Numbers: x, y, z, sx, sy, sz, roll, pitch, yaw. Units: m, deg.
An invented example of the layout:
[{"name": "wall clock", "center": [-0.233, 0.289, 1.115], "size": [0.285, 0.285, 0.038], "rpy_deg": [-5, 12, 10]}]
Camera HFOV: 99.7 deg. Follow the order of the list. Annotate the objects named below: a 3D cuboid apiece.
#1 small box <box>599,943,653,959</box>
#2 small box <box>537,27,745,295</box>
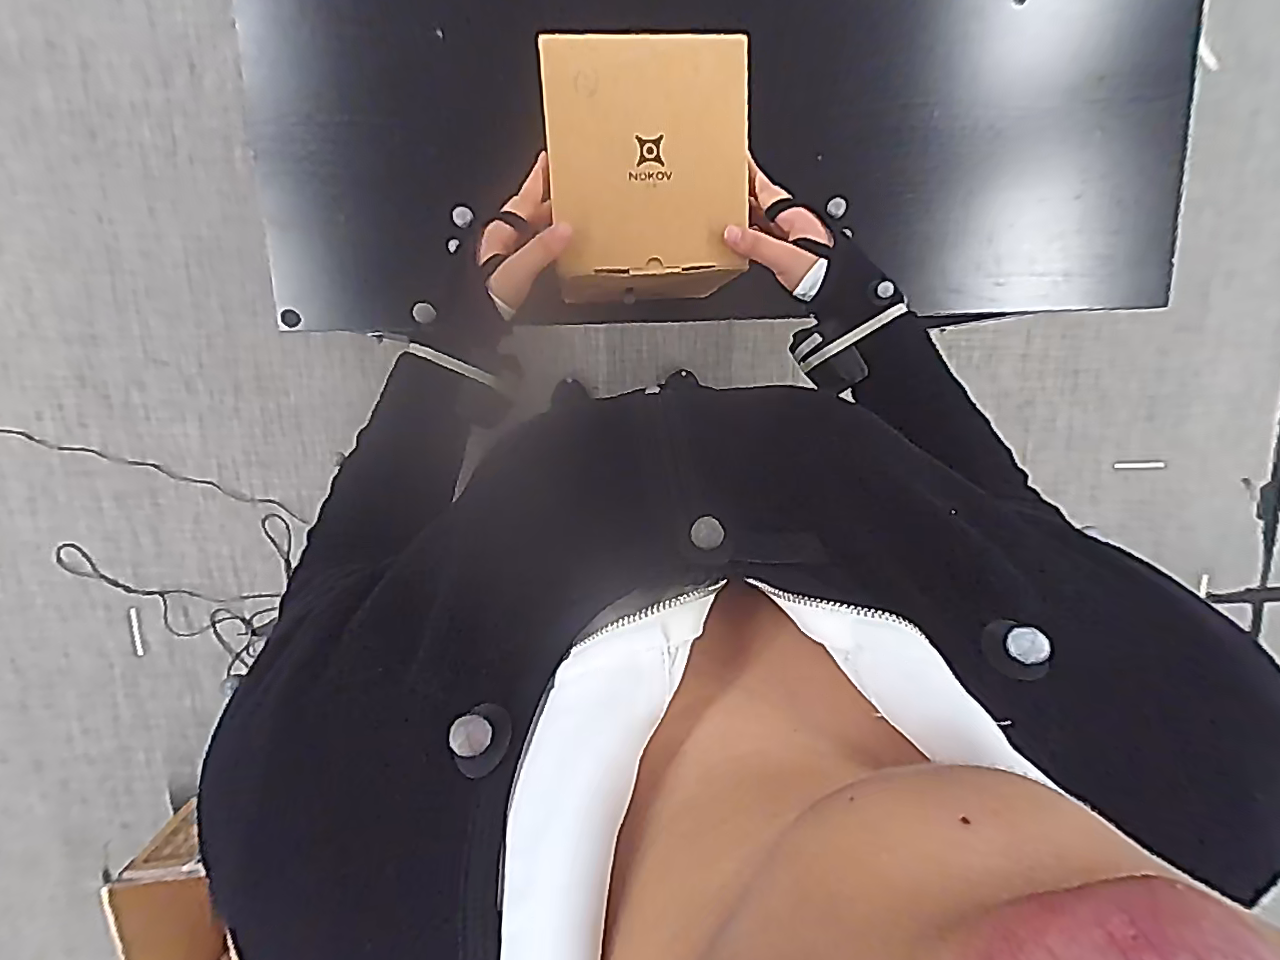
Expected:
[{"name": "small box", "center": [-0.043, 1.549, 1.636], "size": [0.168, 0.176, 0.179], "rpy_deg": [2, 98, -5]}, {"name": "small box", "center": [-0.004, -0.281, 0.513], "size": [0.168, 0.176, 0.179], "rpy_deg": [-4, 102, -4]}]
